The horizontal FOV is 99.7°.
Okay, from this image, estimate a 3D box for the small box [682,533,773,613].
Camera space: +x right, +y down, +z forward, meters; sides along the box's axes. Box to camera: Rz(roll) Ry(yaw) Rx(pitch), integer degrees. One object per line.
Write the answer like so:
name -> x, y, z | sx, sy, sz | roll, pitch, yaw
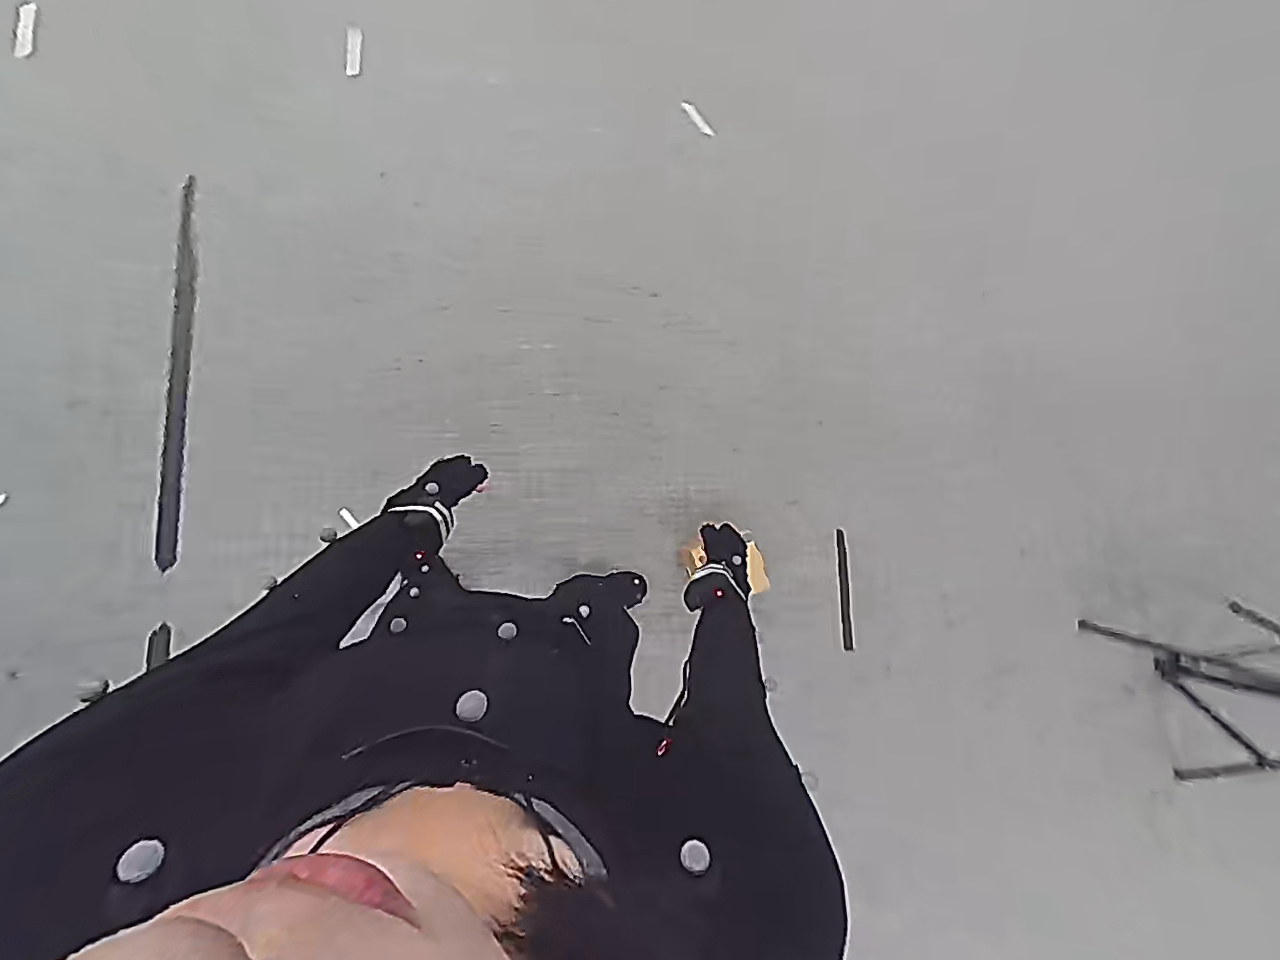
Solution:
small box -> 0.234, 0.248, 1.486 | 0.179, 0.176, 0.168 | -18, 86, -9
